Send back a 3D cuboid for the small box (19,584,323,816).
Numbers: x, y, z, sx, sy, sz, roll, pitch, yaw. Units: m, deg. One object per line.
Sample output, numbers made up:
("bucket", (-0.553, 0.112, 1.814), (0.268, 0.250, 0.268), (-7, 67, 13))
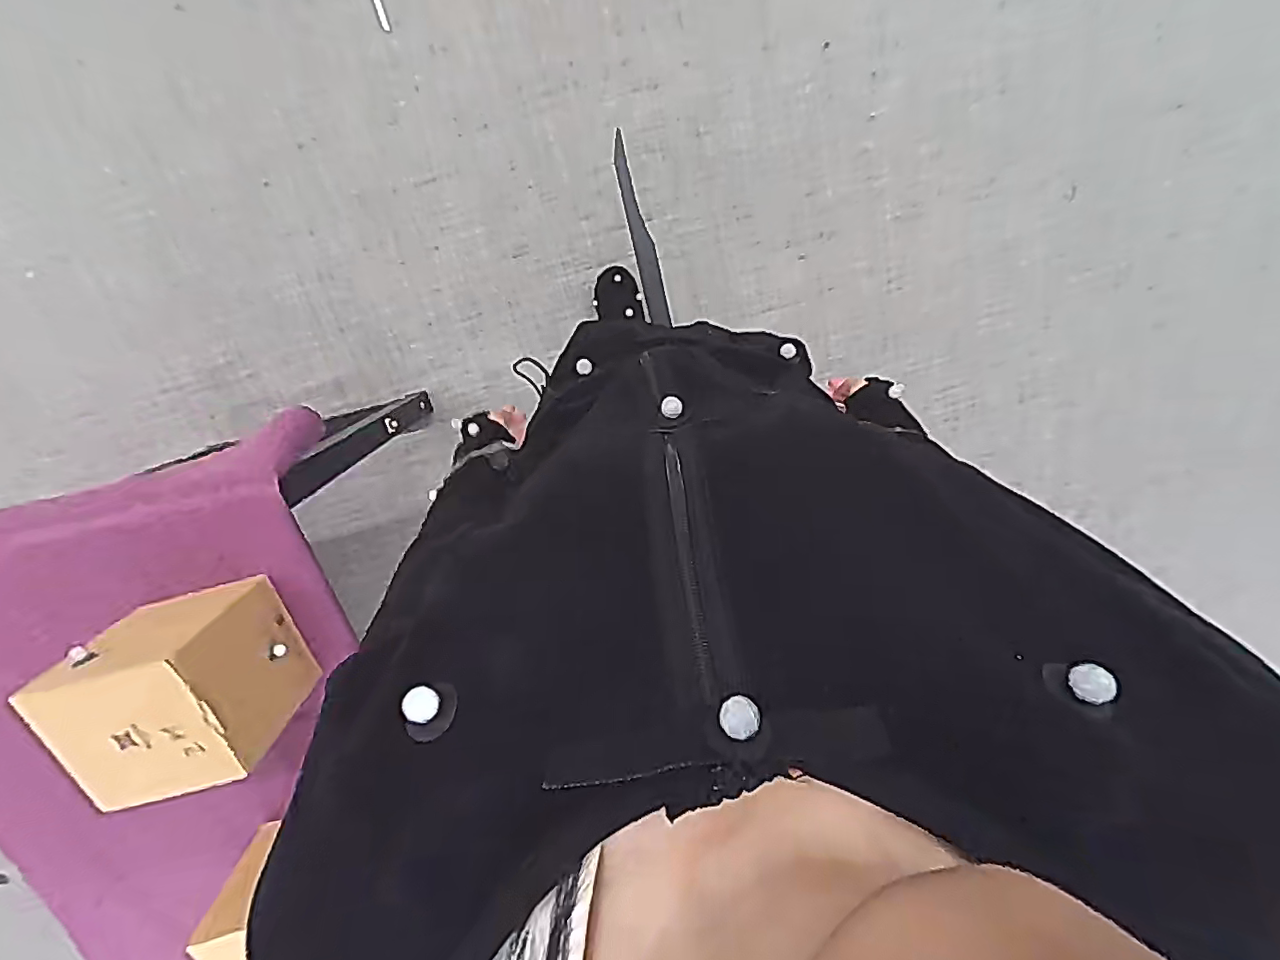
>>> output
("small box", (-0.526, 0.249, 0.640), (0.179, 0.176, 0.168), (-15, 111, 1))
